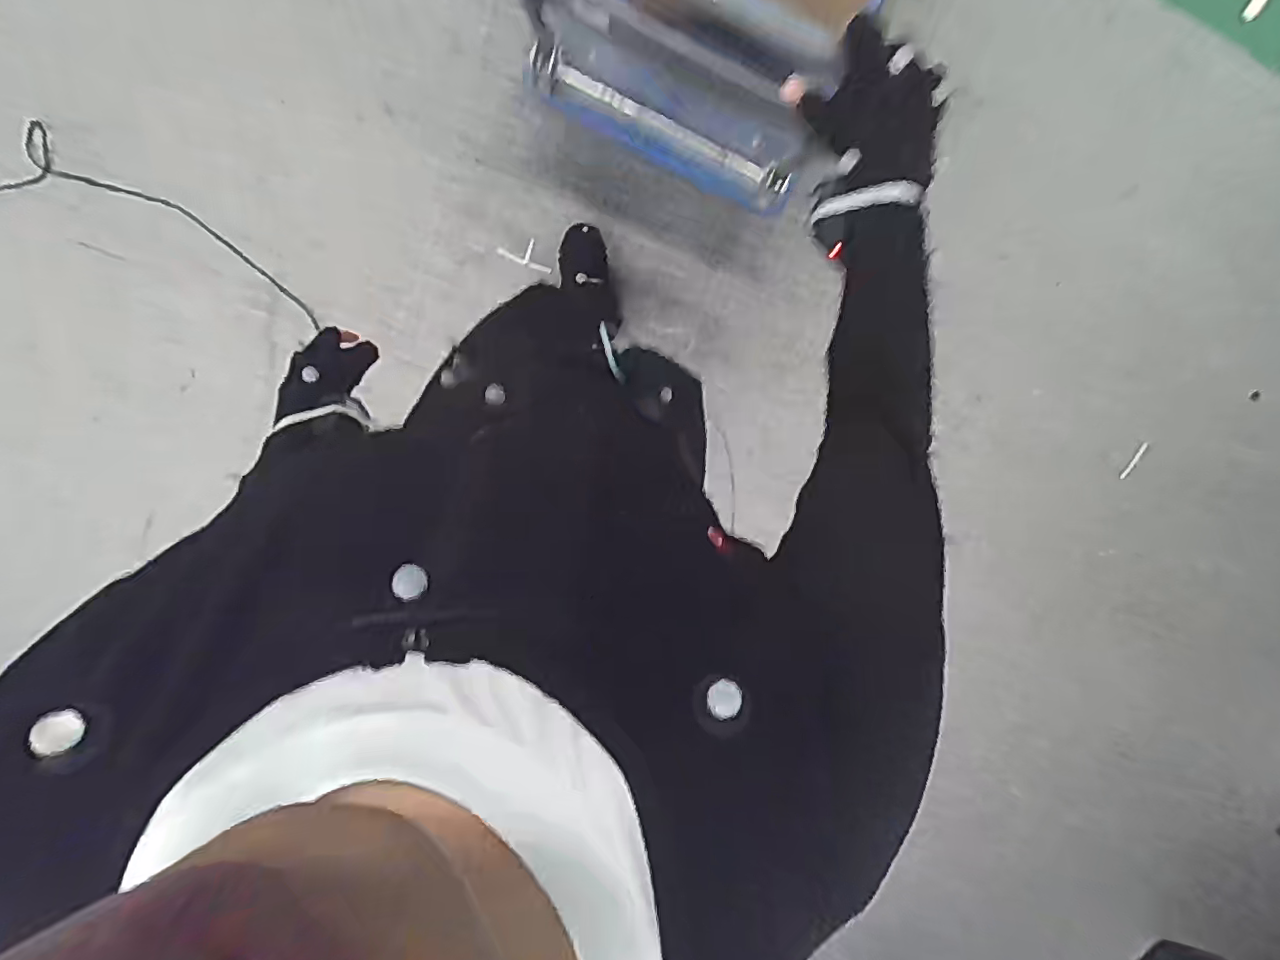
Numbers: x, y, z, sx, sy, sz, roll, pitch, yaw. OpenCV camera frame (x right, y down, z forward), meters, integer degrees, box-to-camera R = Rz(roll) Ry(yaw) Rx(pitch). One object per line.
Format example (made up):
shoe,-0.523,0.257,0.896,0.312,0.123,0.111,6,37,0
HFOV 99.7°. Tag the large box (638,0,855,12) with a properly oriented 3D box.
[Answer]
large box,0.197,-0.969,0.820,0.408,0.320,0.320,2,109,-1
